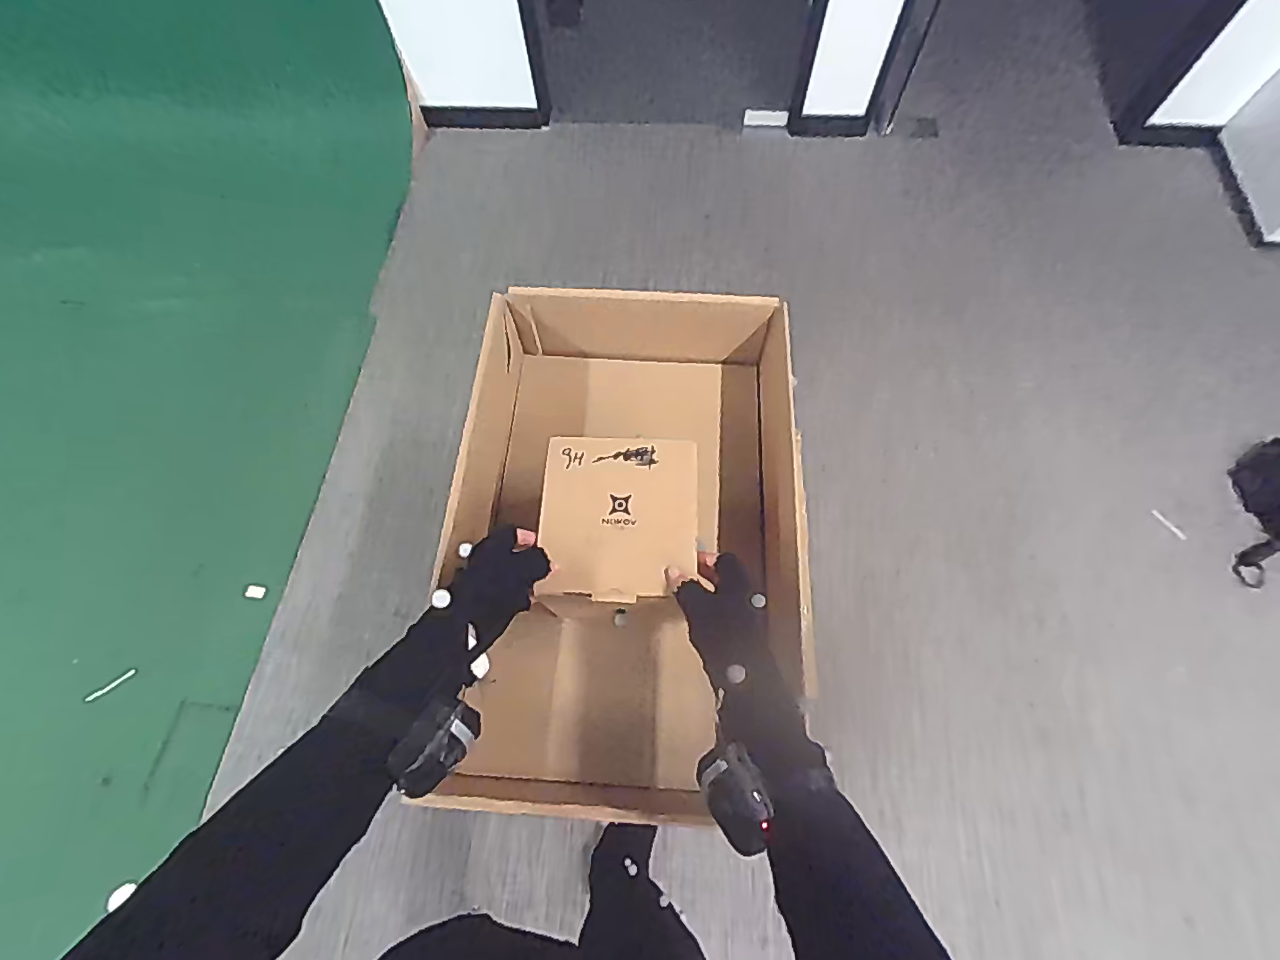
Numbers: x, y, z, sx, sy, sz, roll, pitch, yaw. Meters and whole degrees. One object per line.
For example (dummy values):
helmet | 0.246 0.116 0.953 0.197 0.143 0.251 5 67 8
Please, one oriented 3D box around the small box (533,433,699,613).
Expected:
small box | -0.020 0.060 0.642 0.168 0.176 0.179 3 70 1
